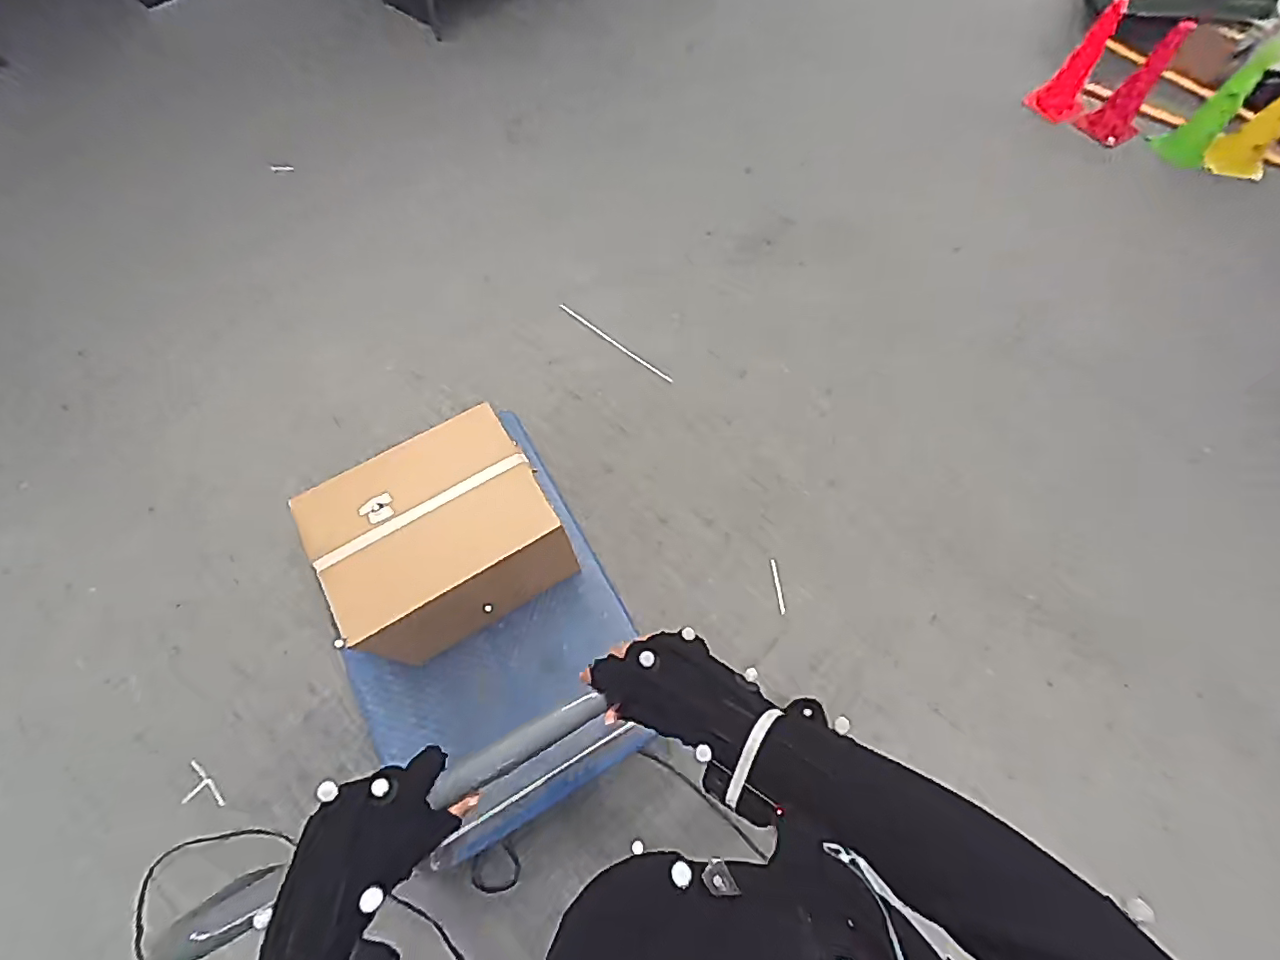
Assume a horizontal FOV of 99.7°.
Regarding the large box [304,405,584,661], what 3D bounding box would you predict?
[{"bbox_3d":[-0.374,0.122,1.125,0.408,0.320,0.320,-31,68,-12],"label":"large box"}]
